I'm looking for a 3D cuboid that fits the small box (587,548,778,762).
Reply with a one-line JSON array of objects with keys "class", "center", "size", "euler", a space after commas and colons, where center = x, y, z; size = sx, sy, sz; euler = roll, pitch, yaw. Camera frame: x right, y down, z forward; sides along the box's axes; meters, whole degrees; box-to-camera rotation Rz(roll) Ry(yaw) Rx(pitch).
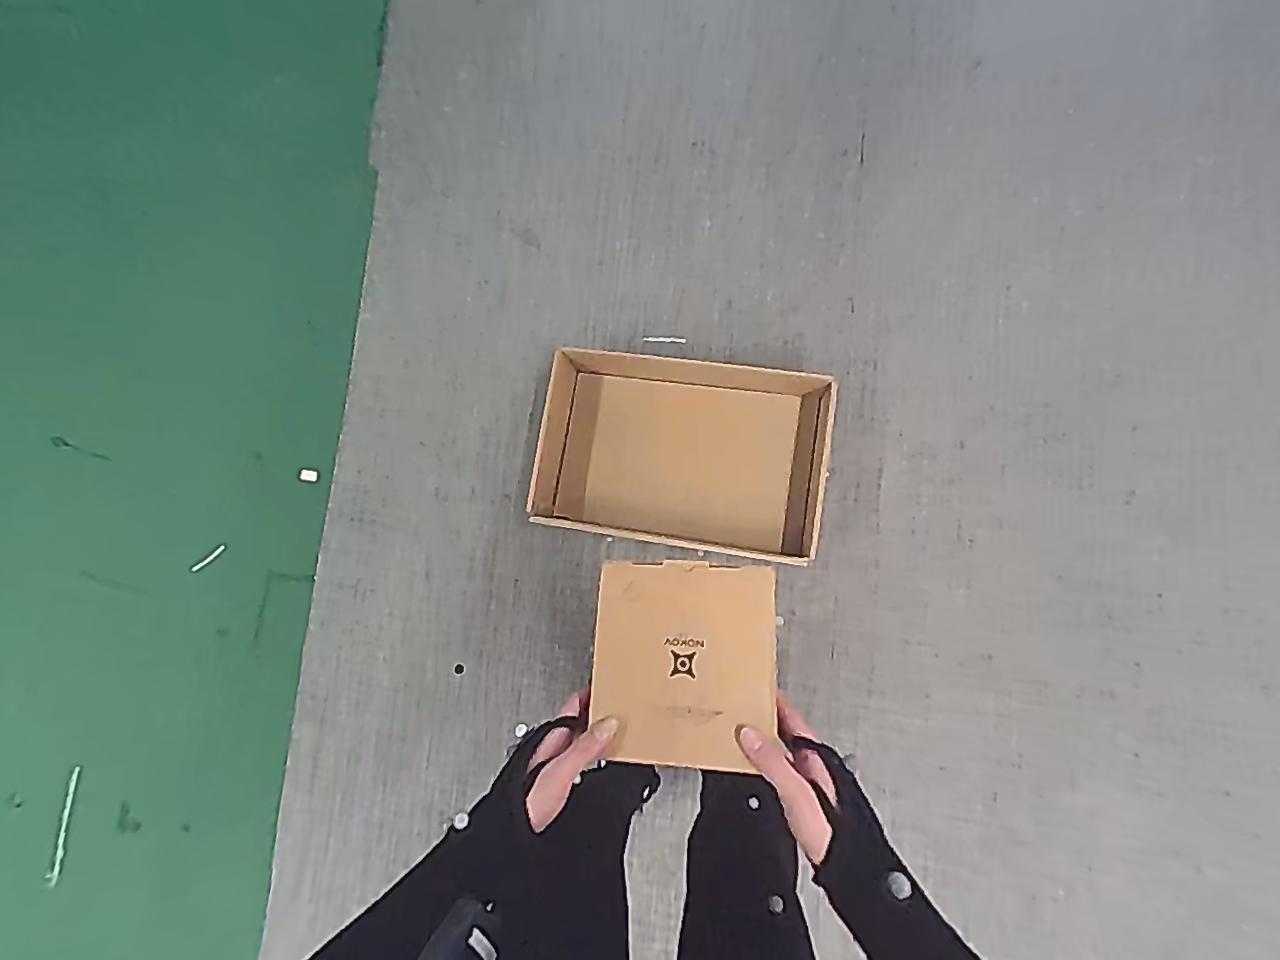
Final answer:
[{"class": "small box", "center": [0.049, 0.177, 0.561], "size": [0.168, 0.176, 0.179], "euler": [1, 72, 8]}]
